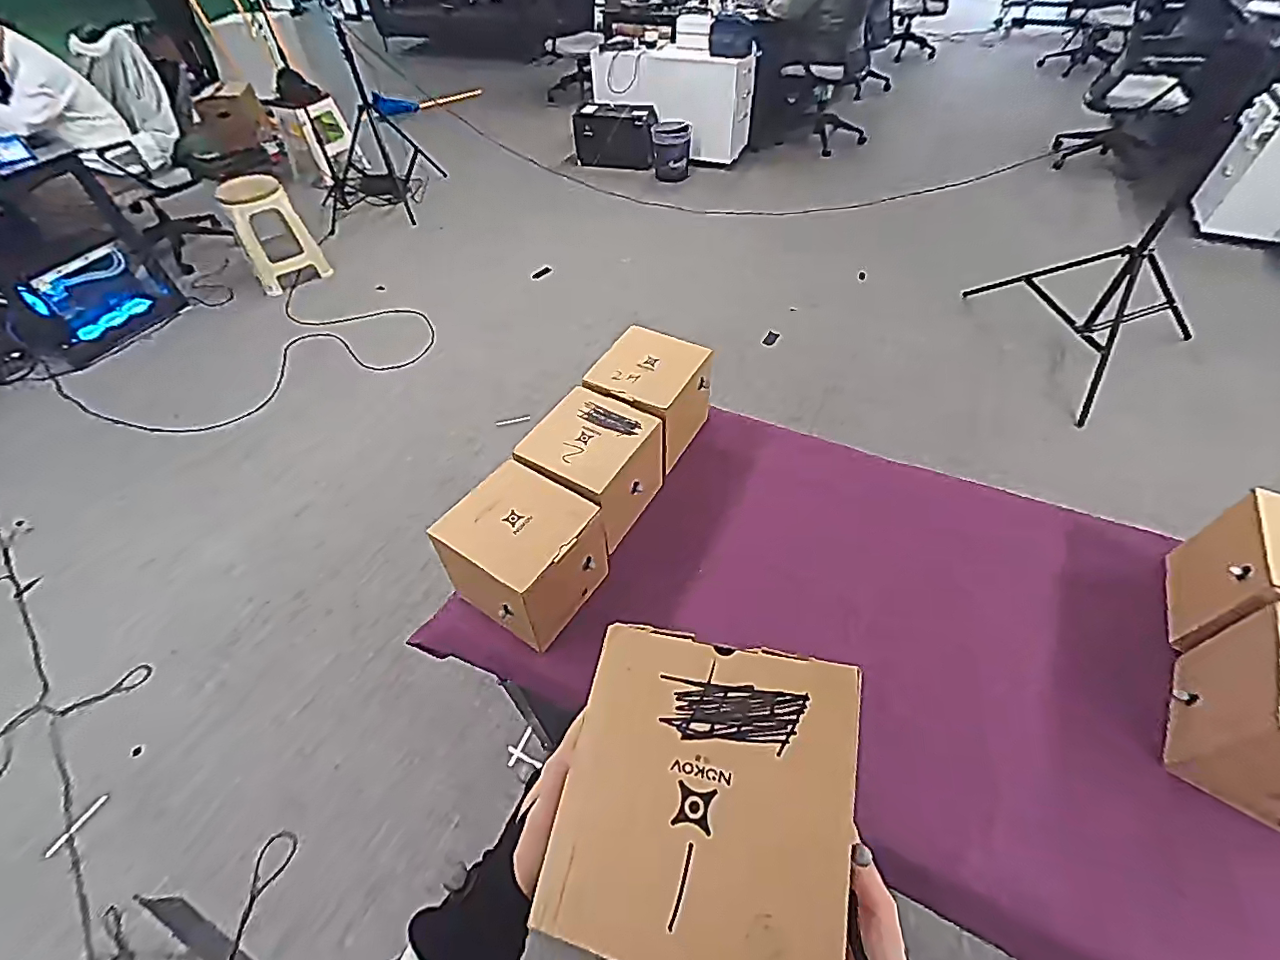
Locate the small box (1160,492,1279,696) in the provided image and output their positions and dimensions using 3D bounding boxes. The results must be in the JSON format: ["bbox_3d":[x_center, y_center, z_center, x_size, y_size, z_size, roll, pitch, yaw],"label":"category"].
[{"bbox_3d":[0.839,0.154,0.712,0.168,0.176,0.179,23,54,20],"label":"small box"}]

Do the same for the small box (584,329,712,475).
[{"bbox_3d":[0.016,-0.143,0.995,0.168,0.176,0.179,23,55,20],"label":"small box"}]

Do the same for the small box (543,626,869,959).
[{"bbox_3d":[0.061,0.226,0.380,0.168,0.176,0.179,4,59,20],"label":"small box"}]
